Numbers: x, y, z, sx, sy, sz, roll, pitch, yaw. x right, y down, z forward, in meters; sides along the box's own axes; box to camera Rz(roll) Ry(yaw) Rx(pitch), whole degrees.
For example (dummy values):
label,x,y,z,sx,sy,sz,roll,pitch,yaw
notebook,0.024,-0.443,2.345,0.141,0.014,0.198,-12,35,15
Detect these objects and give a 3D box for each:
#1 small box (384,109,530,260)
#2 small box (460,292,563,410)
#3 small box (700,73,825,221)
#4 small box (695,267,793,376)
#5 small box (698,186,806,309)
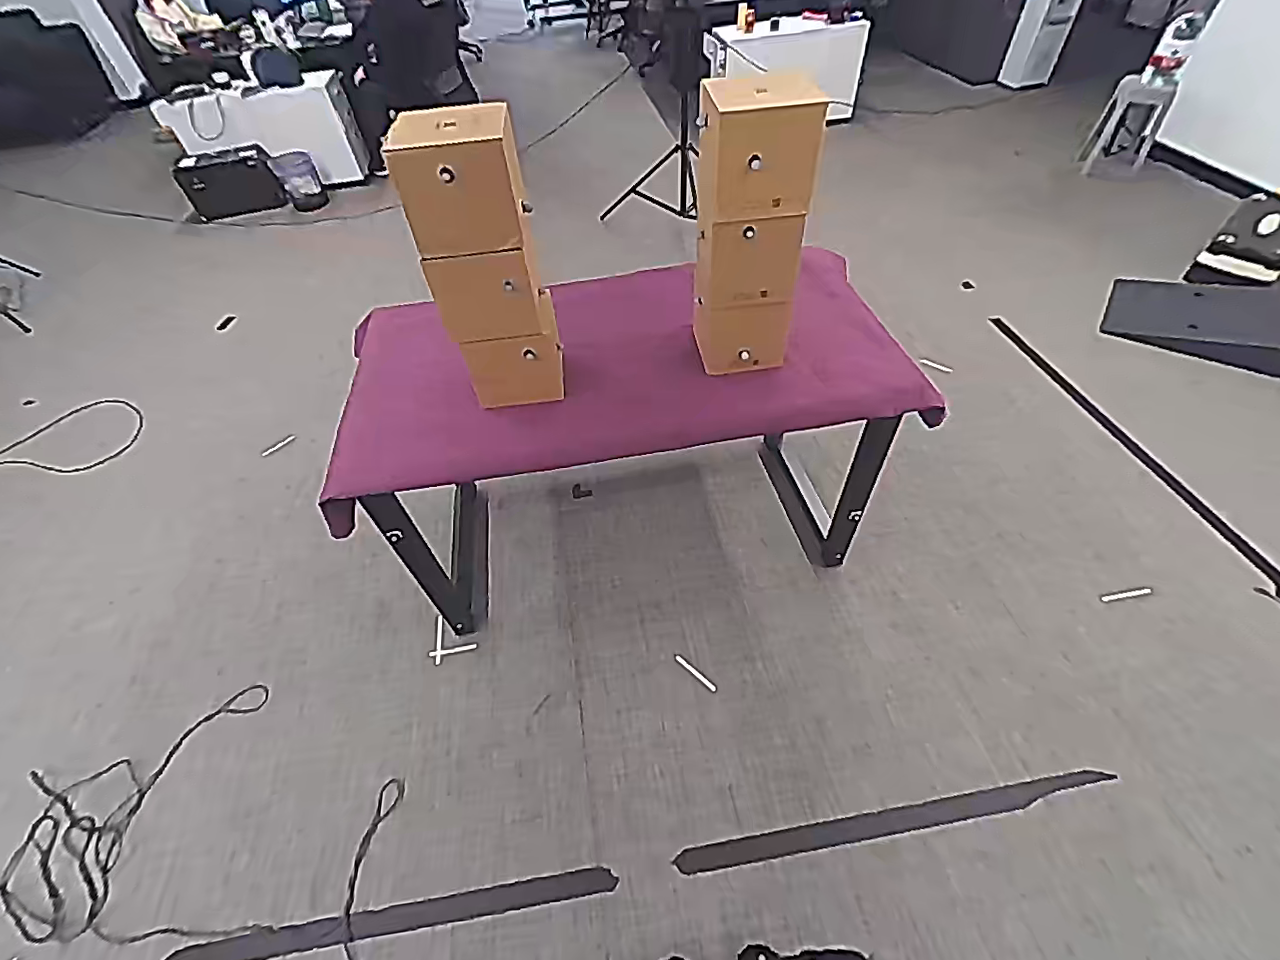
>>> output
label,x,y,z,sx,sy,sz,roll,pitch,yaw
small box,-0.287,-0.479,0.886,0.179,0.176,0.168,-7,50,-3
small box,-0.257,-0.268,1.133,0.179,0.176,0.168,-7,49,-1
small box,0.194,-0.551,0.908,0.168,0.176,0.179,-6,49,0
small box,0.213,-0.348,1.163,0.168,0.176,0.179,-8,50,-1
small box,0.203,-0.450,1.036,0.168,0.176,0.179,-6,49,0
